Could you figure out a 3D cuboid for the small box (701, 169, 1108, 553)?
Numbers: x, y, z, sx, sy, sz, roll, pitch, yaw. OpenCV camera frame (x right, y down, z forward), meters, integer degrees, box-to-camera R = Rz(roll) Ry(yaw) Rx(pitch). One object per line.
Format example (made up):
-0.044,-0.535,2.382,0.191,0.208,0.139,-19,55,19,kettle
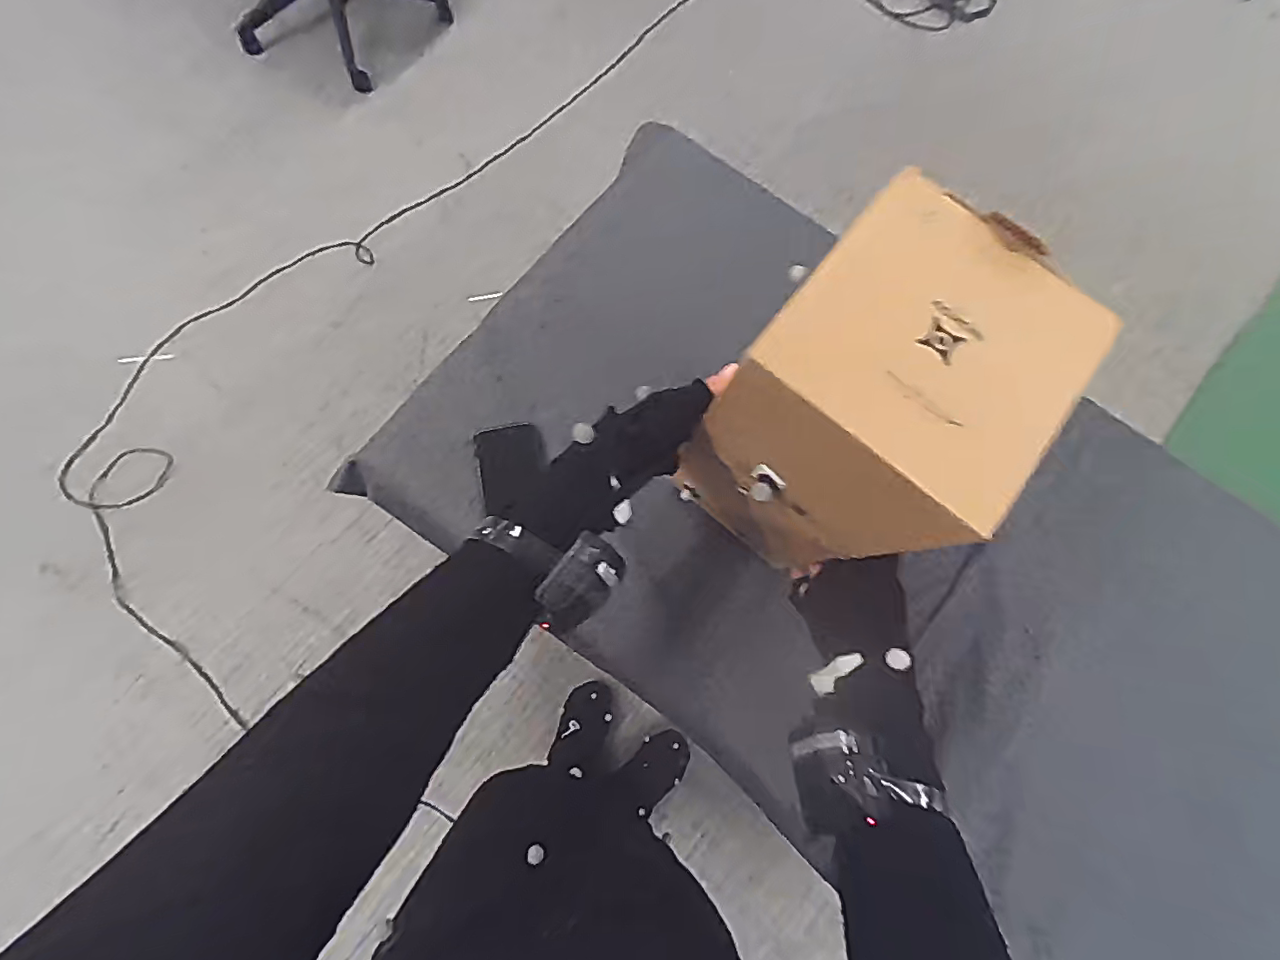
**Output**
0.164,-0.066,0.394,0.168,0.176,0.179,39,77,5,small box

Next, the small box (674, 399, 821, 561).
0.150,-0.035,0.552,0.168,0.176,0.179,40,75,4,small box
